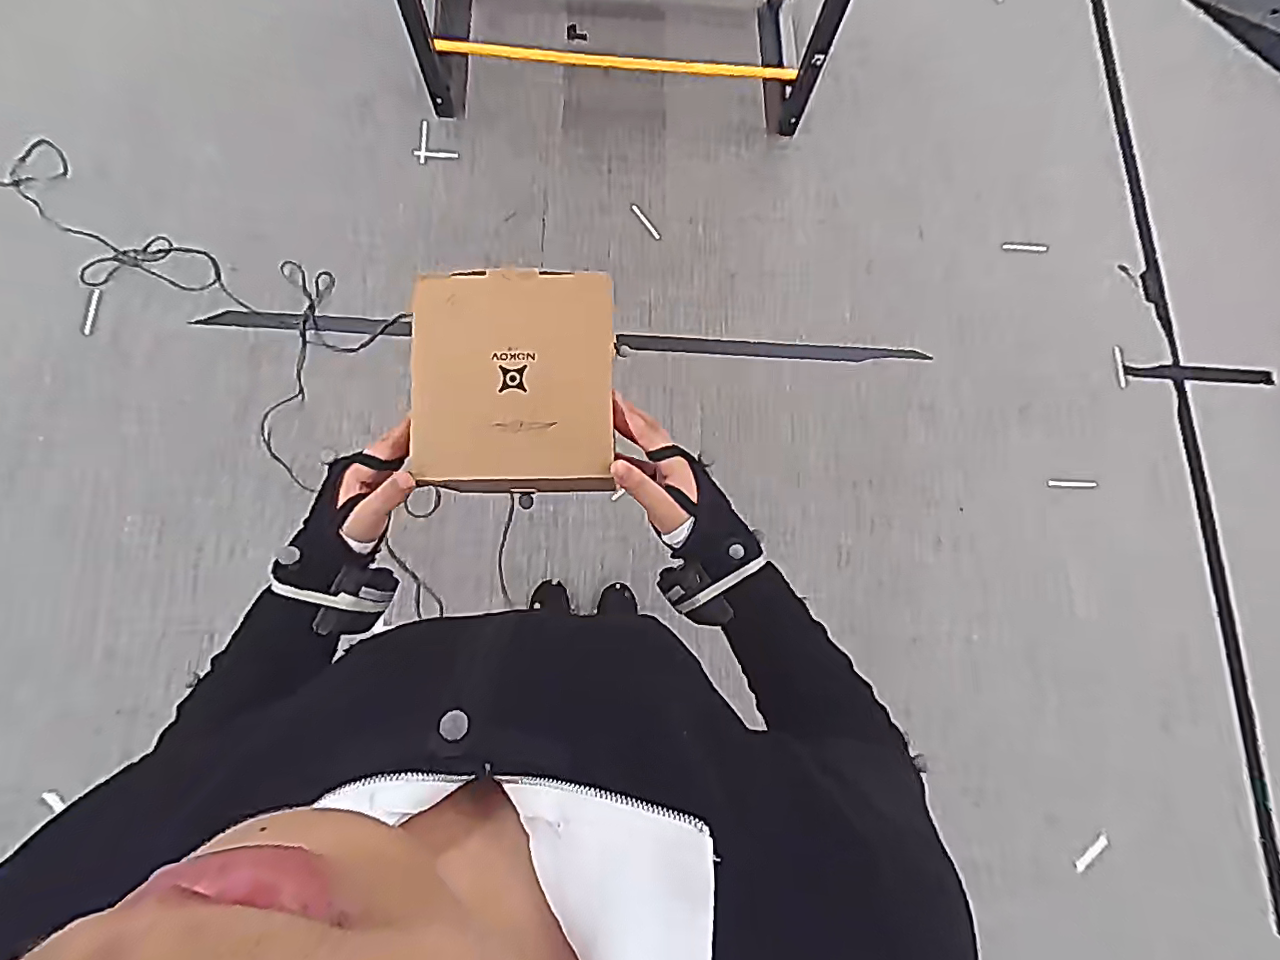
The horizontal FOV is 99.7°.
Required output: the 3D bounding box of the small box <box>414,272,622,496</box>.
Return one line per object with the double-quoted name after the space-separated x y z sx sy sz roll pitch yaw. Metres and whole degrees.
-0.102 -0.078 0.521 0.168 0.176 0.179 -1 85 -1 "small box"
